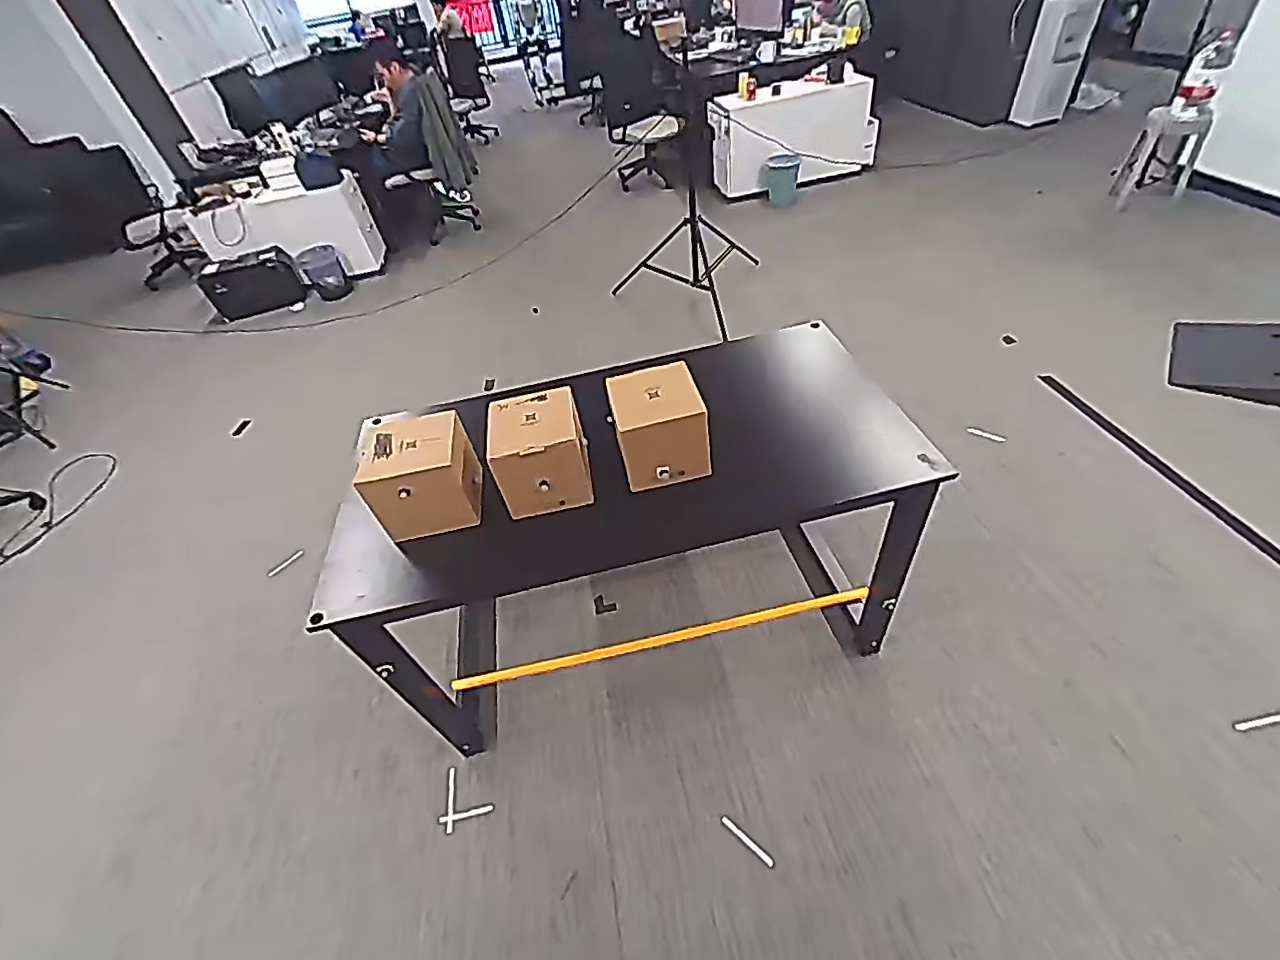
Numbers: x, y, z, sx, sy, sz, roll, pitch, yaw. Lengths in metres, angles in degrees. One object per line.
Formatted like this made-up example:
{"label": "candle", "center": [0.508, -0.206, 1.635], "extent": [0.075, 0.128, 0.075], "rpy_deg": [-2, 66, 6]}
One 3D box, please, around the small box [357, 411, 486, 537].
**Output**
{"label": "small box", "center": [-0.421, -0.007, 1.070], "extent": [0.179, 0.176, 0.168], "rpy_deg": [-12, 45, -3]}

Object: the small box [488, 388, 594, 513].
{"label": "small box", "center": [-0.192, -0.052, 1.076], "extent": [0.168, 0.176, 0.179], "rpy_deg": [-12, 45, -1]}

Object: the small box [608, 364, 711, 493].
{"label": "small box", "center": [0.040, -0.103, 1.087], "extent": [0.168, 0.176, 0.179], "rpy_deg": [-14, 46, -2]}
